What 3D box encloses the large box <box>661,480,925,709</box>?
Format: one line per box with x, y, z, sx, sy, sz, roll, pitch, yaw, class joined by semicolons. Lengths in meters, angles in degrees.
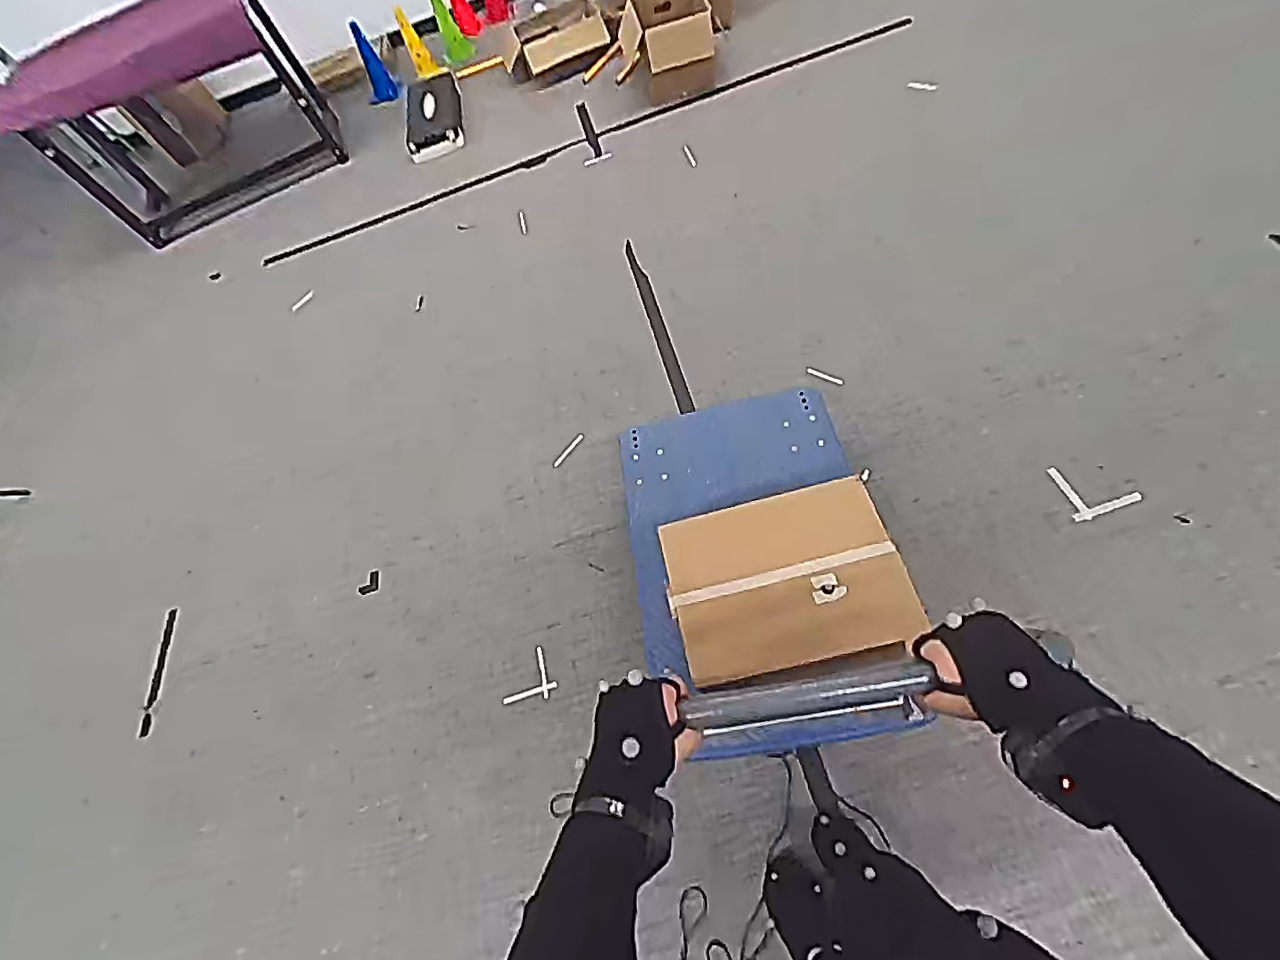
0.286;0.251;1.116;0.408;0.320;0.320;-15;60;4;large box
